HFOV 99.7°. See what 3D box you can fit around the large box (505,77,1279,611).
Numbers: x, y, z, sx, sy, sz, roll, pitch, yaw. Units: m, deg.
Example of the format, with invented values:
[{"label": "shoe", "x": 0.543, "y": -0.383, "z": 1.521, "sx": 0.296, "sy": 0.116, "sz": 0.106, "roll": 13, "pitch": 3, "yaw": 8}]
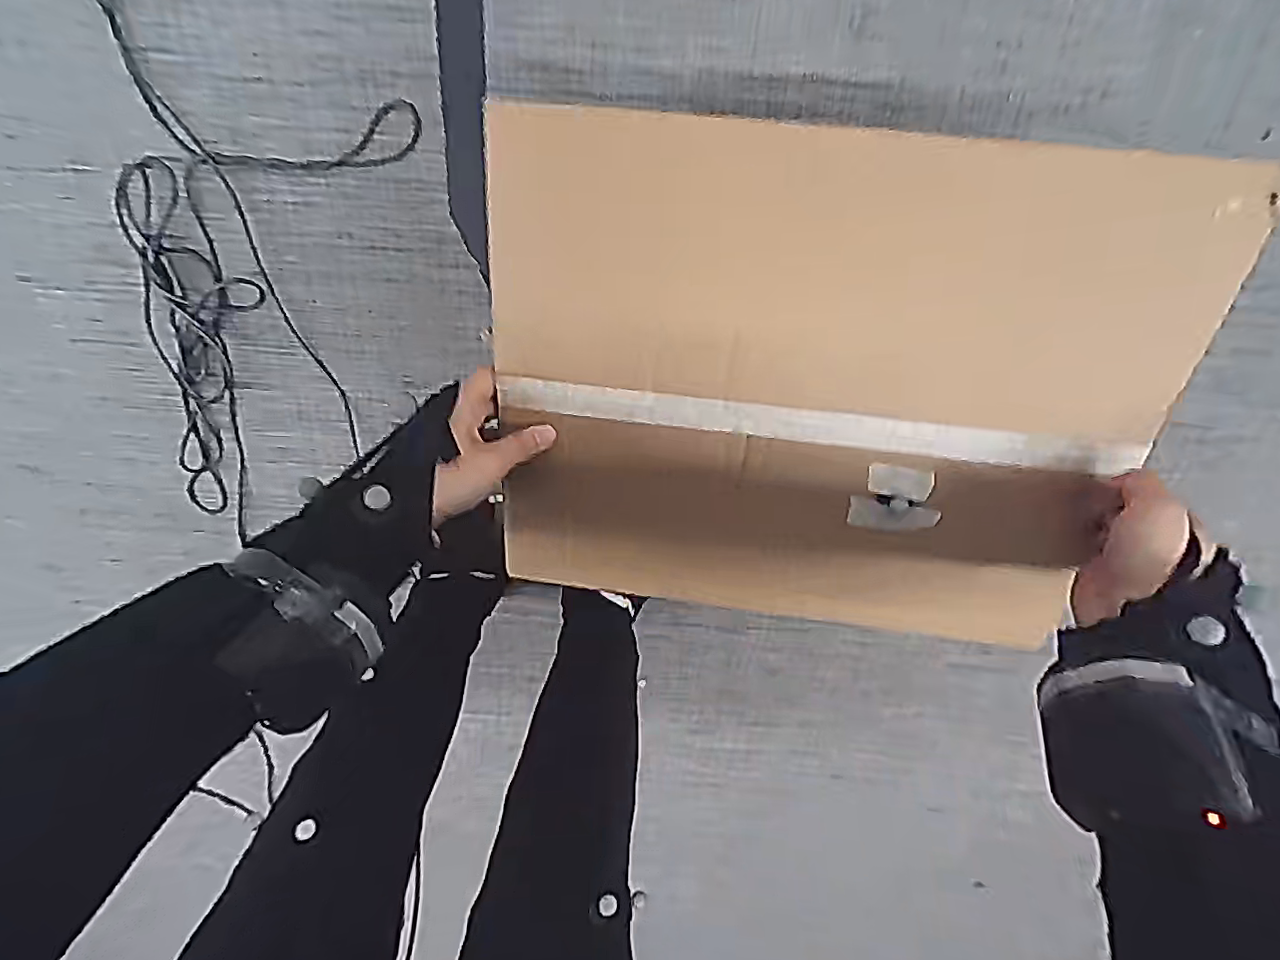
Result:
[{"label": "large box", "x": 0.129, "y": -0.123, "z": 0.472, "sx": 0.408, "sy": 0.320, "sz": 0.320, "roll": 6, "pitch": 119, "yaw": 3}]
